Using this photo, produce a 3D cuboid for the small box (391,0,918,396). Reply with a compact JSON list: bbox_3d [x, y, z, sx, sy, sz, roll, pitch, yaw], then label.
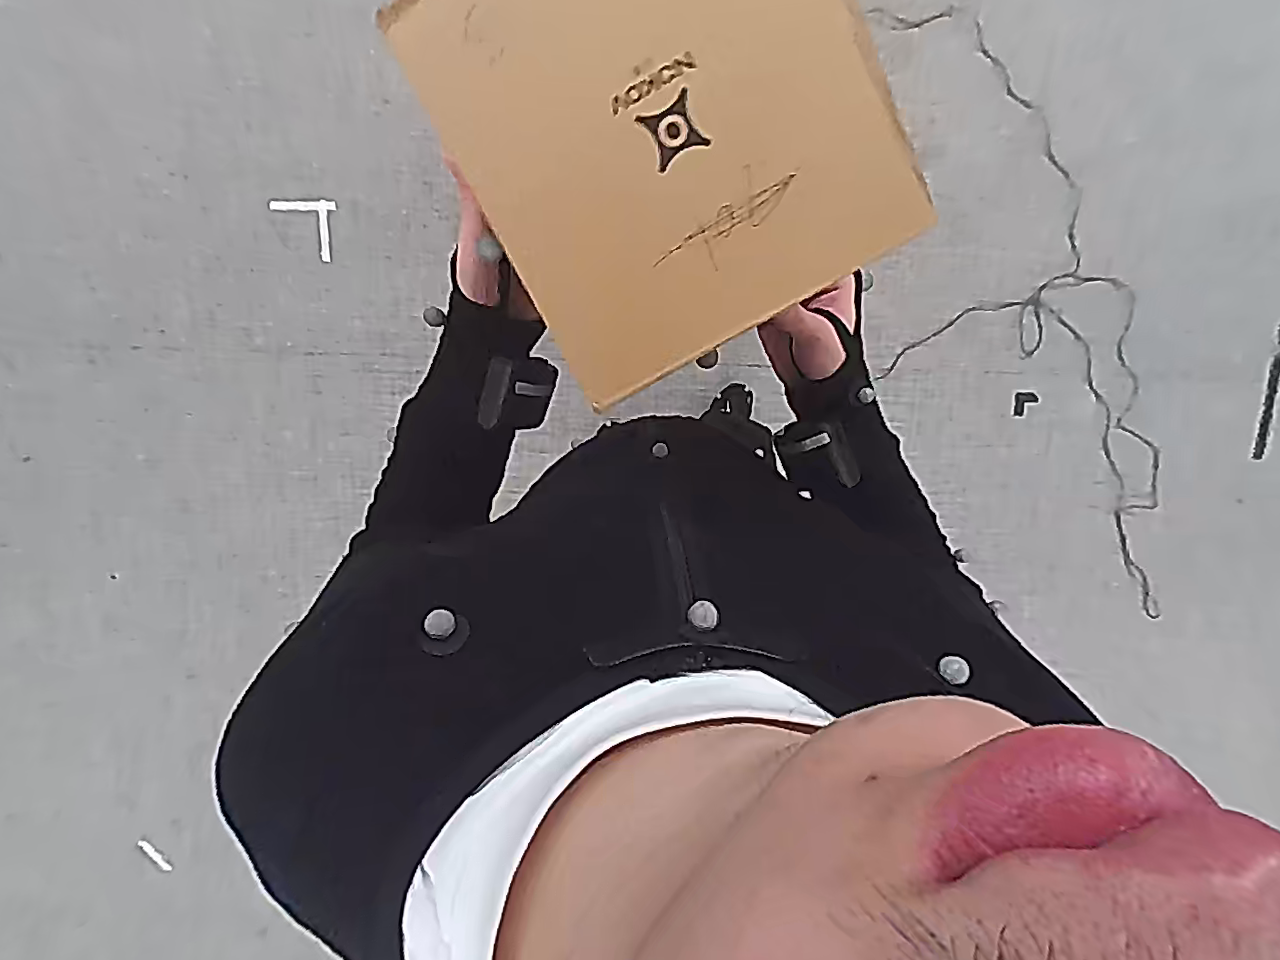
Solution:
[{"bbox_3d":[0.009,-0.165,0.304,0.168,0.176,0.179,-30,102,7],"label":"small box"}]
